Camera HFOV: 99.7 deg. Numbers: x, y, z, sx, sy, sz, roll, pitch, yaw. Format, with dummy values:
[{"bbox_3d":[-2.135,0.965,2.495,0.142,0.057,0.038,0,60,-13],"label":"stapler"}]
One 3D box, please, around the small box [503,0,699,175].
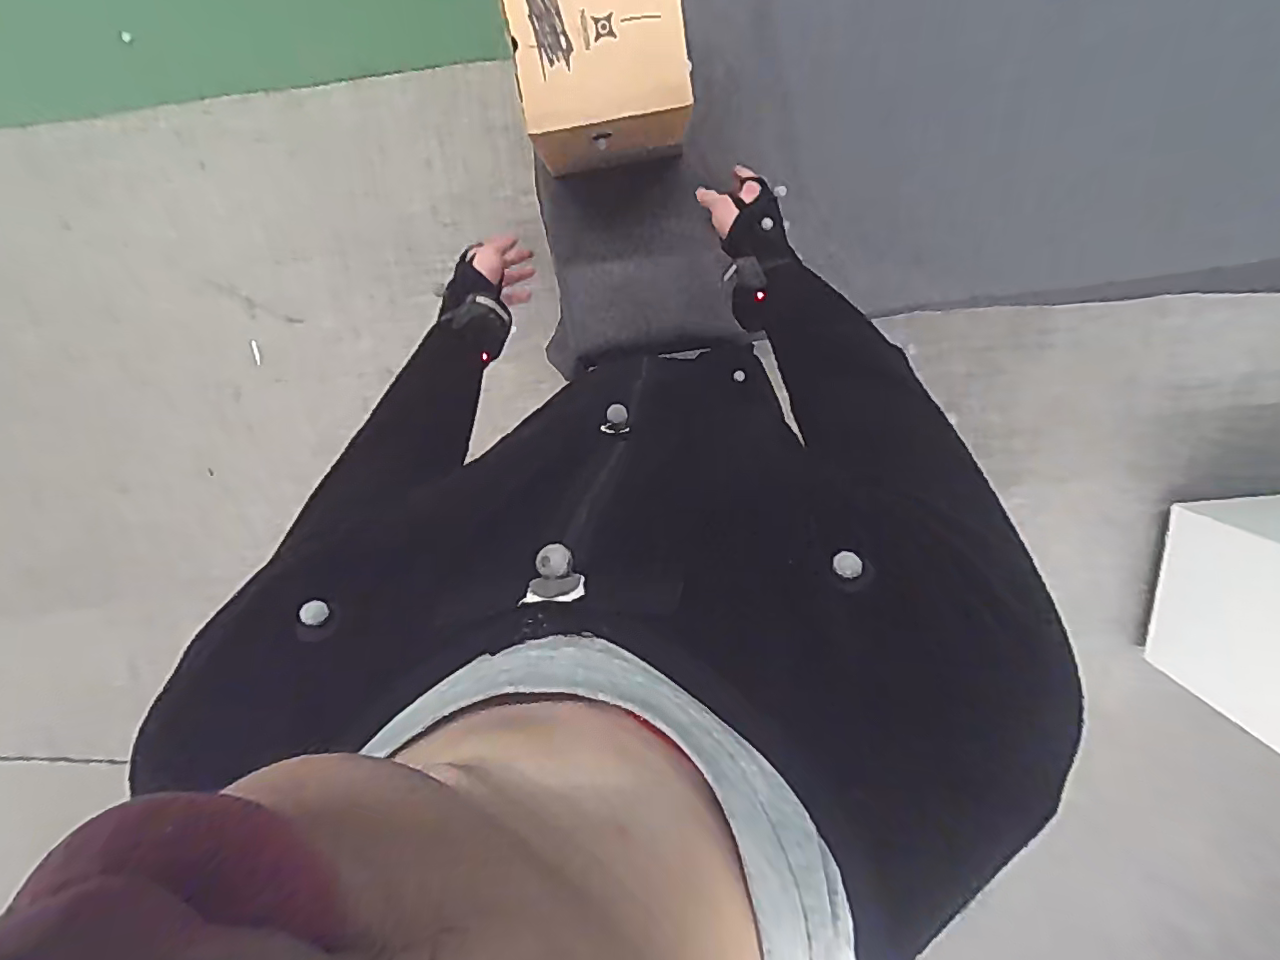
[{"bbox_3d":[-0.040,-0.457,0.594,0.179,0.176,0.168,-10,105,0],"label":"small box"}]
